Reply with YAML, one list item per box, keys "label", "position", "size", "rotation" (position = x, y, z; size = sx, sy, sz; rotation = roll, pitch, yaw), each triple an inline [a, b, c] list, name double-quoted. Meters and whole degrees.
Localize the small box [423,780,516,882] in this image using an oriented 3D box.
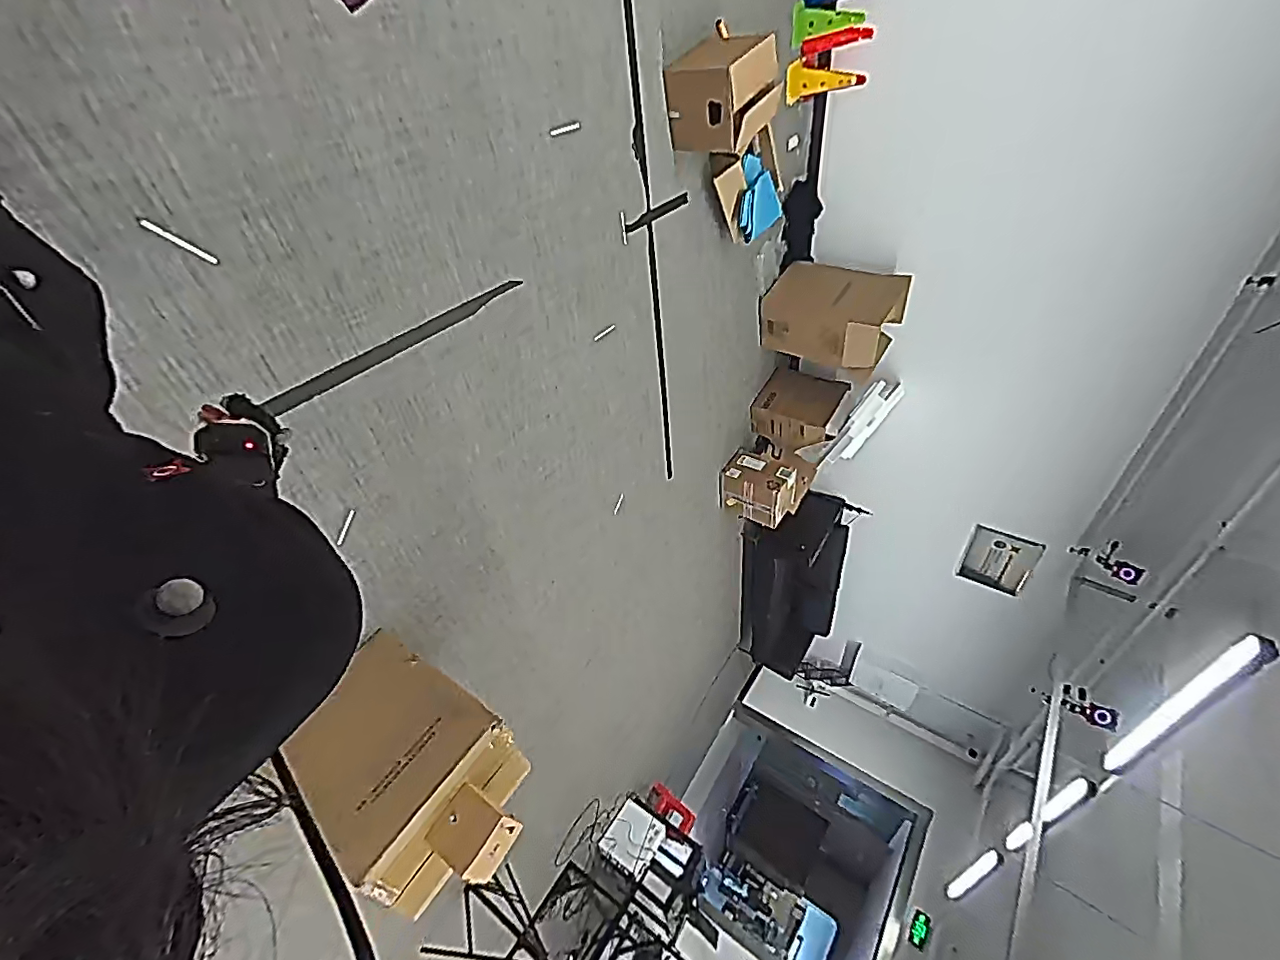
- label: "small box"
  position: [-0.507, 1.028, 1.589]
  size: [0.179, 0.176, 0.168]
  rotation: [-51, 146, -28]
